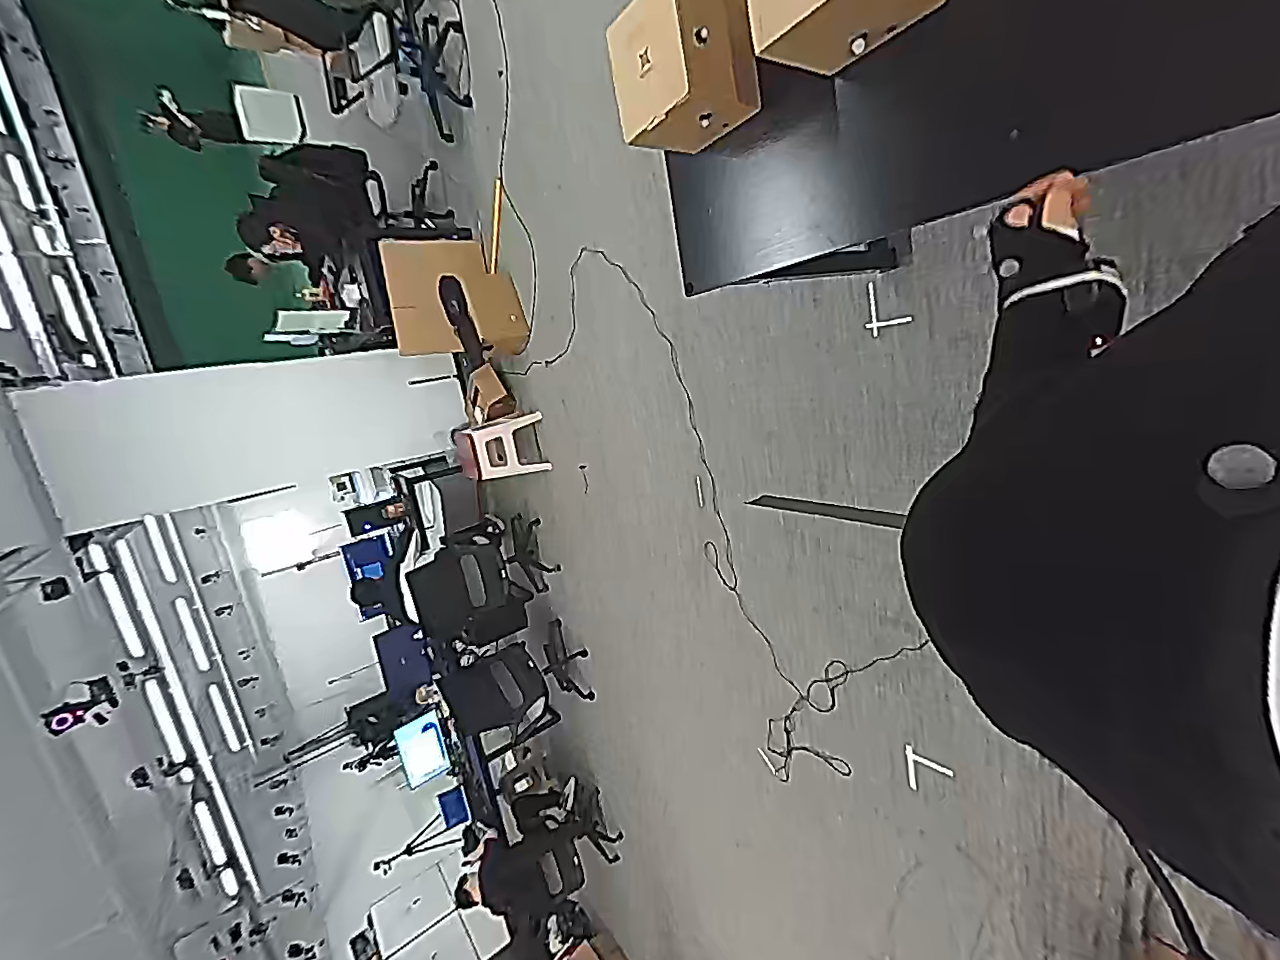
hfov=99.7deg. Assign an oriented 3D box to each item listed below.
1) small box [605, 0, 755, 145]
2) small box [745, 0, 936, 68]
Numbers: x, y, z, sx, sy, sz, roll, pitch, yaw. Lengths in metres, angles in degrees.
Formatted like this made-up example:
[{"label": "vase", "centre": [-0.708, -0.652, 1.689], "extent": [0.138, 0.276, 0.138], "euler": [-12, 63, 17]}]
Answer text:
[{"label": "small box", "centre": [0.070, -0.675, 0.886], "extent": [0.168, 0.176, 0.179], "euler": [3, 106, 53]}, {"label": "small box", "centre": [0.241, -0.647, 0.656], "extent": [0.168, 0.176, 0.179], "euler": [5, 110, 54]}]
